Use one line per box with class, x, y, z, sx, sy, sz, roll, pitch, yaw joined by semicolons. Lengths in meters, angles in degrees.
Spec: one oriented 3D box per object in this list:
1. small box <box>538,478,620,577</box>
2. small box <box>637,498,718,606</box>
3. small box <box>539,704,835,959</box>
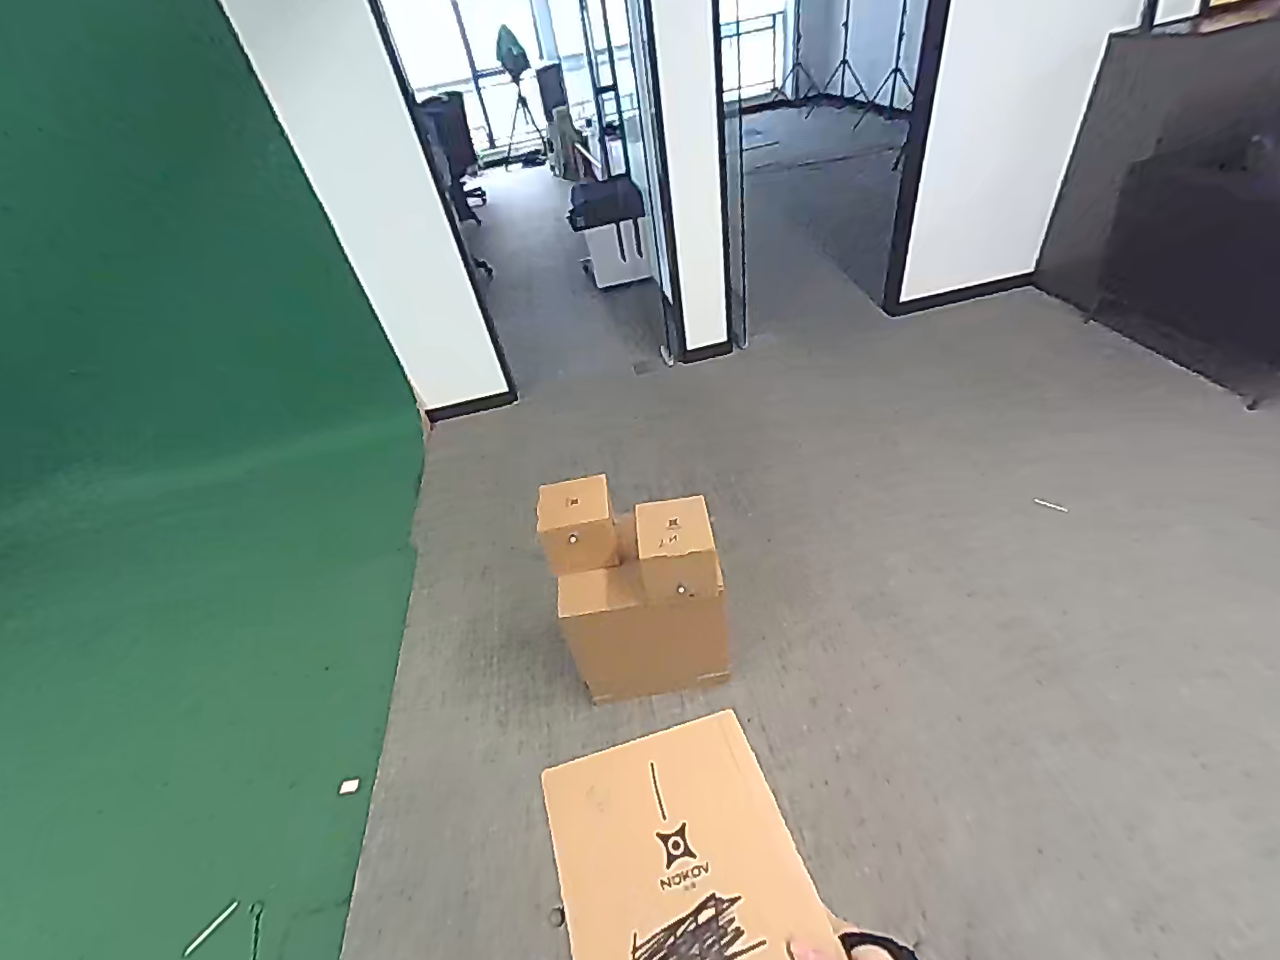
small box;-0.150;0.123;1.374;0.179;0.176;0.168;-11;40;2
small box;0.086;0.168;1.266;0.168;0.176;0.179;-9;40;3
small box;0.024;0.321;0.436;0.168;0.176;0.179;-12;43;-14
